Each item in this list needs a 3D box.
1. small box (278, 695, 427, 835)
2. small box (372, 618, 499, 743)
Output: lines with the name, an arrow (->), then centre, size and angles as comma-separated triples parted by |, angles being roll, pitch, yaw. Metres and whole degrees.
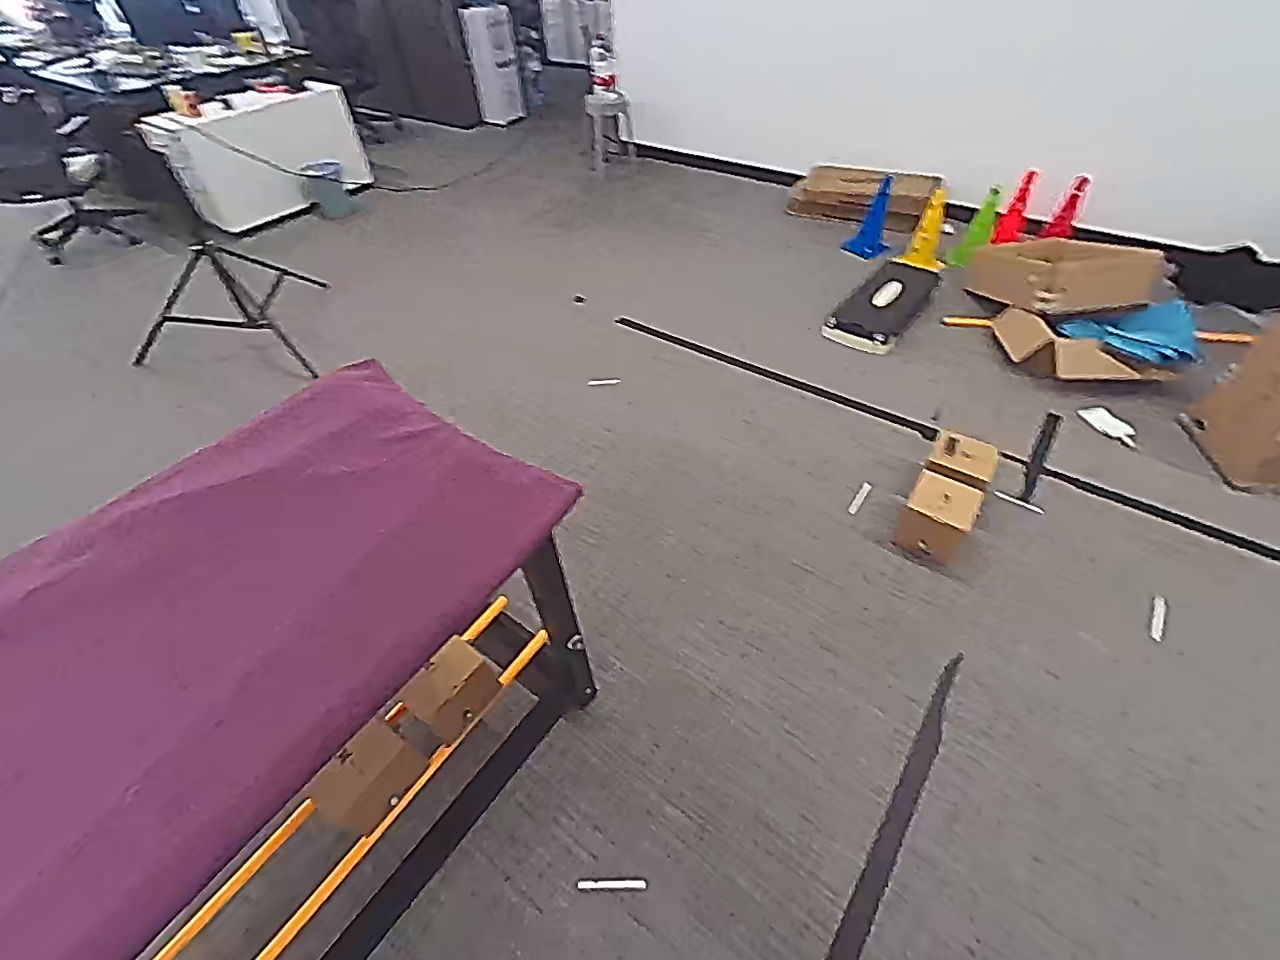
small box -> -0.564, 0.573, 1.081 | 0.179, 0.176, 0.168 | 28, 55, 23
small box -> -0.442, 0.445, 1.190 | 0.179, 0.176, 0.168 | 27, 56, 24
